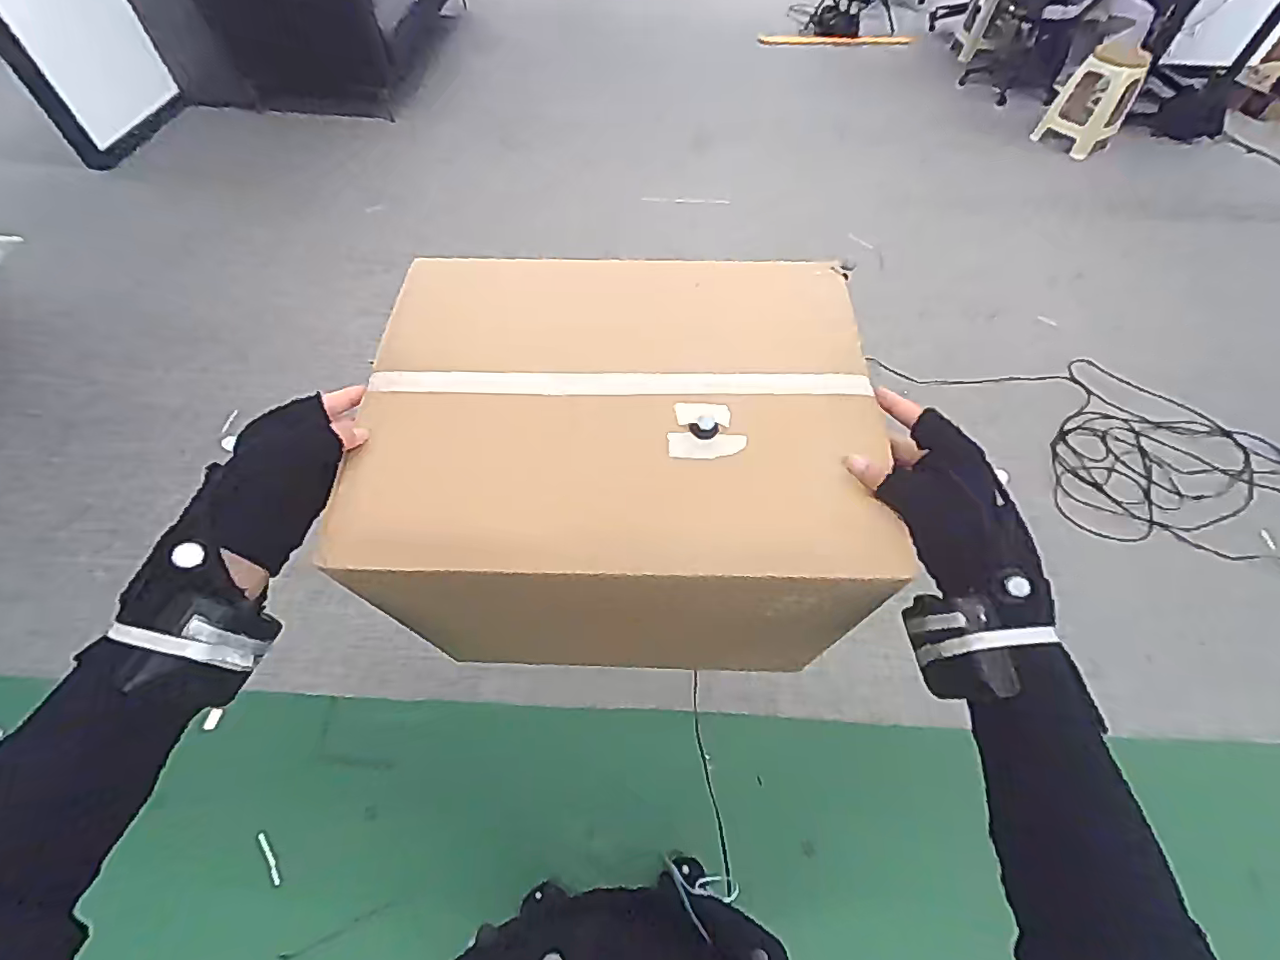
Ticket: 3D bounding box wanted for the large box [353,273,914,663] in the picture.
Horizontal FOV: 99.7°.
[{"bbox_3d":[-0.005,0.007,0.579,0.408,0.320,0.320,1,60,0],"label":"large box"}]
